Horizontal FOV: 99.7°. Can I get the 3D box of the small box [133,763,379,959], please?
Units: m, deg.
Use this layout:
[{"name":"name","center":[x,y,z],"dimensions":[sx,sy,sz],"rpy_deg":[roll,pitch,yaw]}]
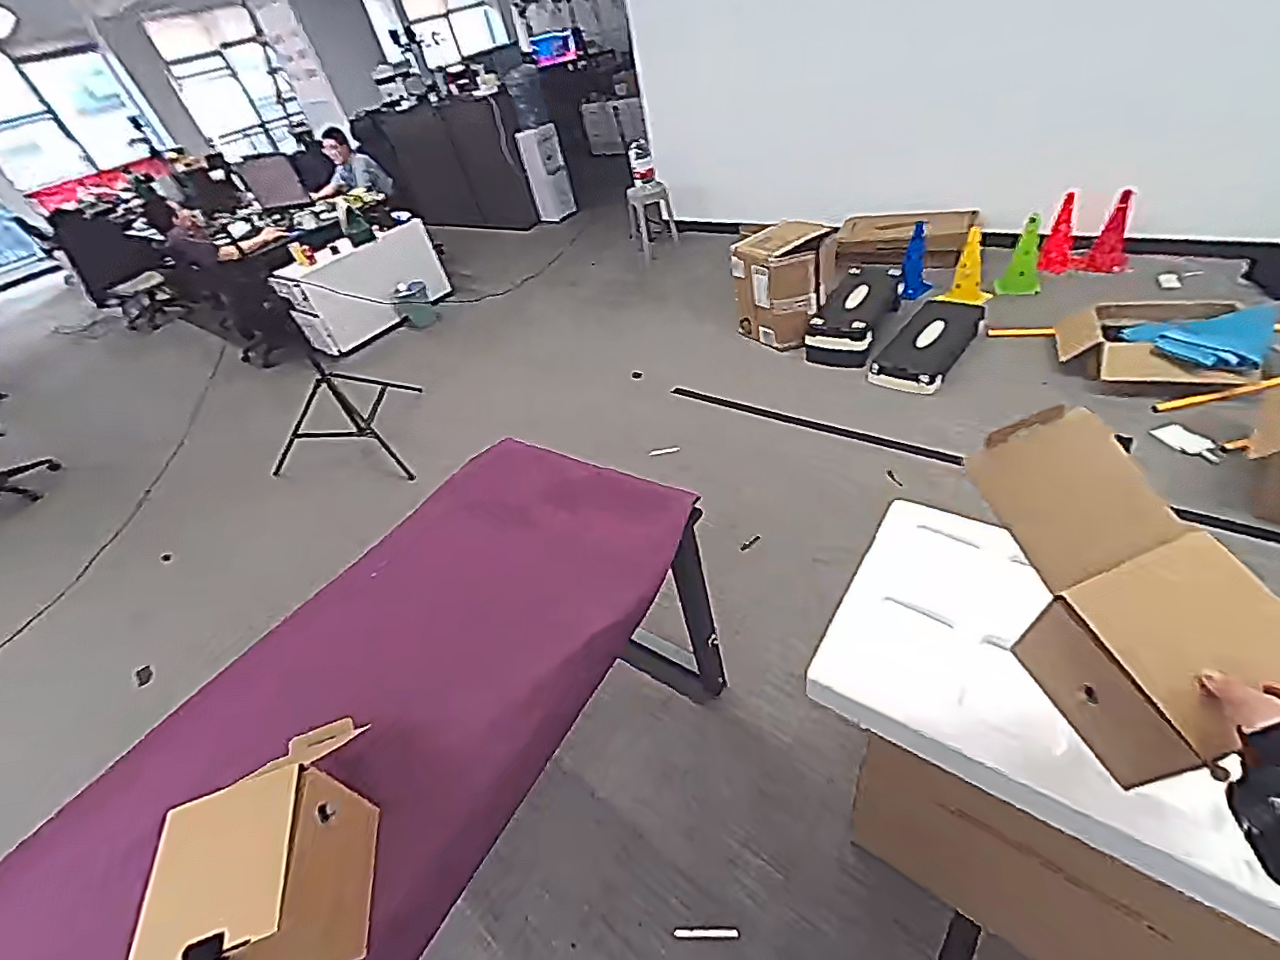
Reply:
[{"name":"small box","center":[-0.449,0.496,0.671],"dimensions":[0.168,0.176,0.179],"rpy_deg":[-20,40,-3]}]
